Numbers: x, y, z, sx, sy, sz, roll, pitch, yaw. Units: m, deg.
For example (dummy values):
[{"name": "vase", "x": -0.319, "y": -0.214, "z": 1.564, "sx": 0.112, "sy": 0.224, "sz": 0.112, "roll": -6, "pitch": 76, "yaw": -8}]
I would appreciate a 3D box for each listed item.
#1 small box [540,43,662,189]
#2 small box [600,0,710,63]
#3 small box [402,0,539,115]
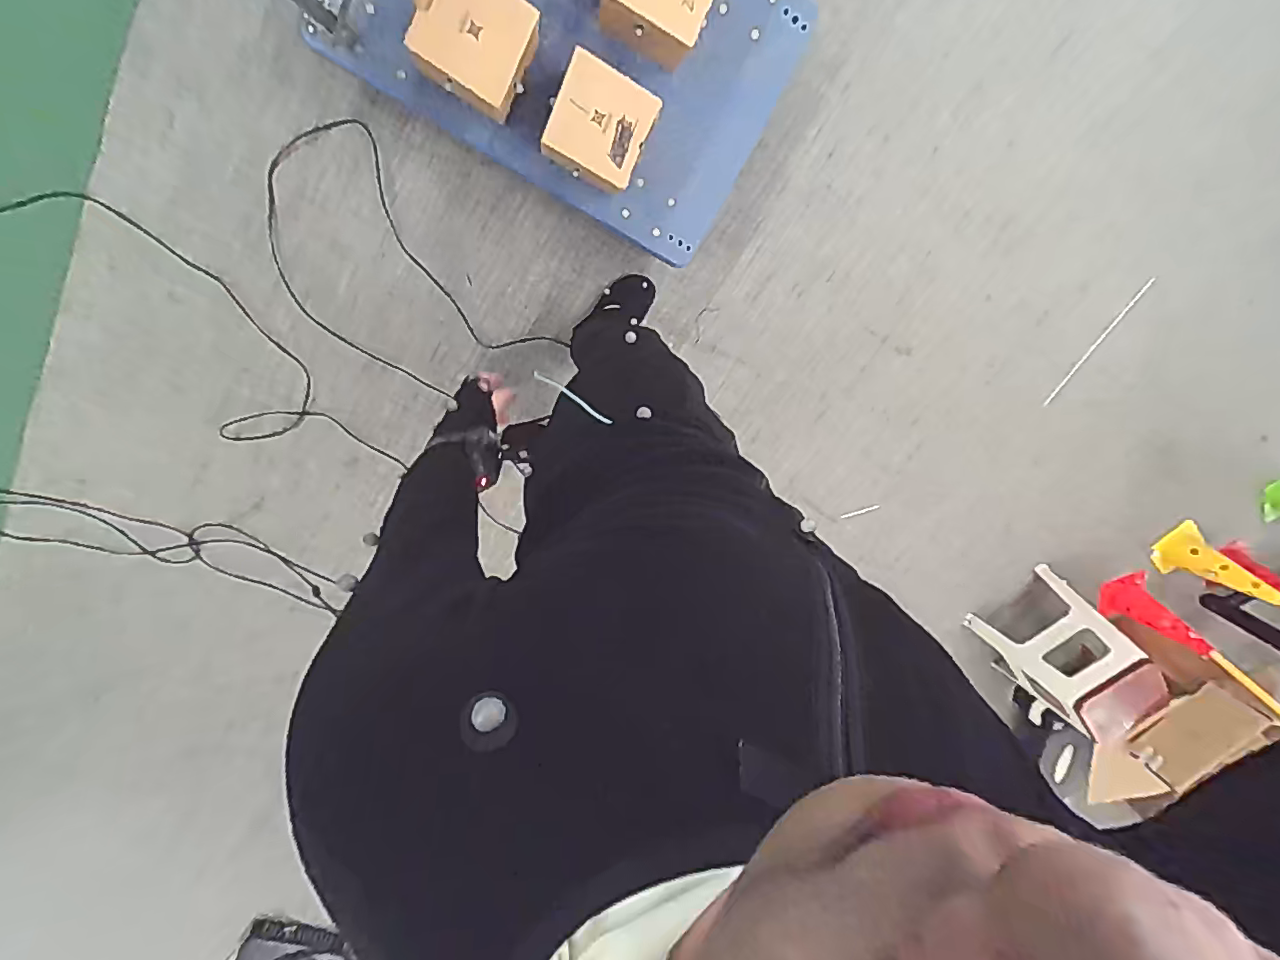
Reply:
[{"name": "small box", "x": -0.082, "y": -0.692, "z": 1.054, "sx": 0.179, "sy": 0.176, "sz": 0.168, "roll": 23, "pitch": 108, "yaw": -18}, {"name": "small box", "x": 0.039, "y": -0.902, "z": 0.978, "sx": 0.179, "sy": 0.176, "sz": 0.168, "roll": 20, "pitch": 110, "yaw": -18}, {"name": "small box", "x": -0.294, "y": -0.794, "z": 0.972, "sx": 0.179, "sy": 0.176, "sz": 0.168, "roll": 26, "pitch": 108, "yaw": -19}]
